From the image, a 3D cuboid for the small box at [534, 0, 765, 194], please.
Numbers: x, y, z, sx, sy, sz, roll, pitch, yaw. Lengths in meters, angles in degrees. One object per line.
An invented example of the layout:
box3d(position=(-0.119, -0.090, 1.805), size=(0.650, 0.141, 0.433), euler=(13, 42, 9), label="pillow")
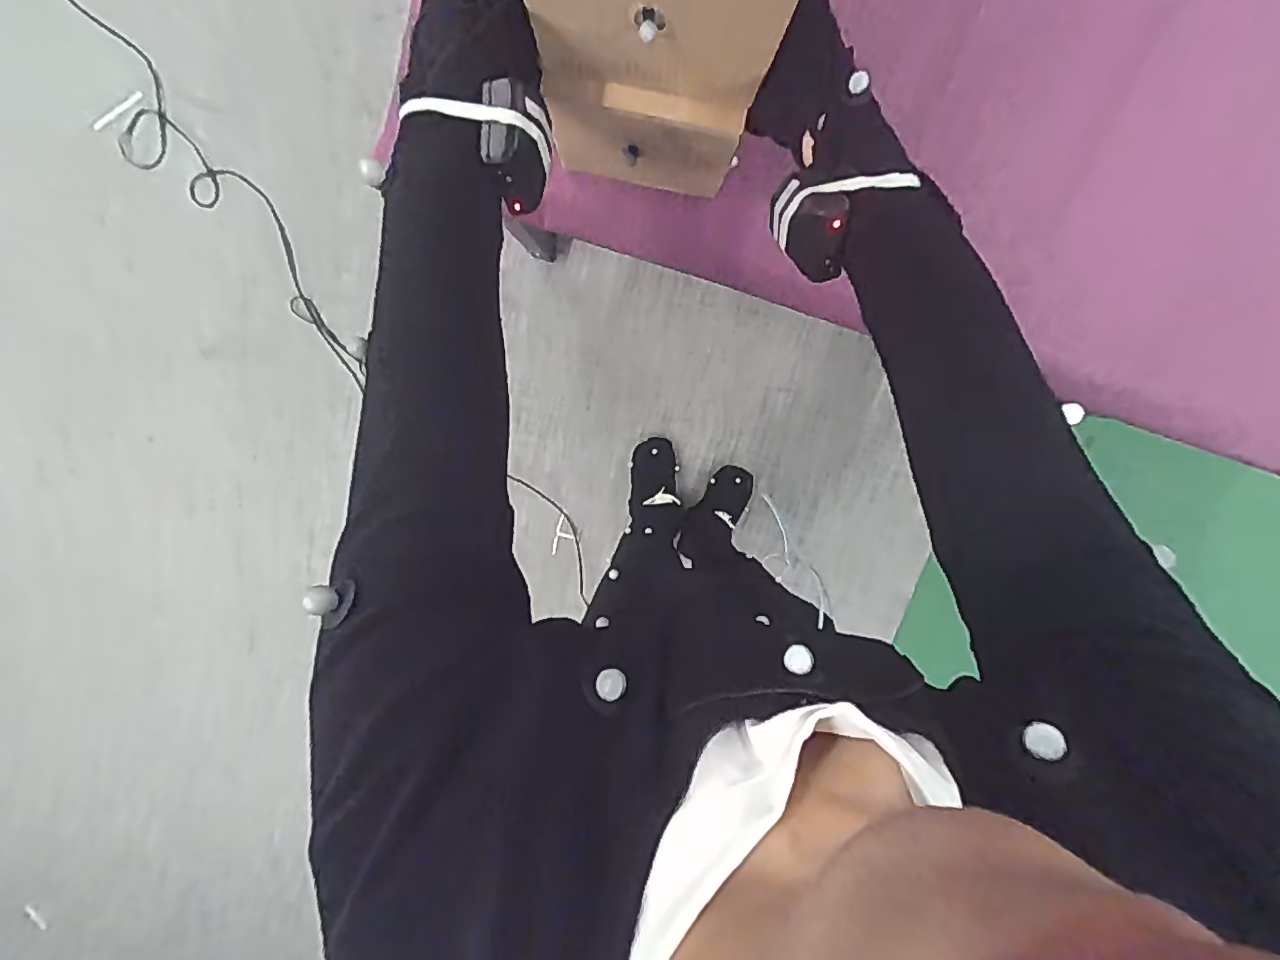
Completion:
box3d(position=(0.010, -0.397, 0.519), size=(0.179, 0.176, 0.168), euler=(10, 101, -3), label="small box")
